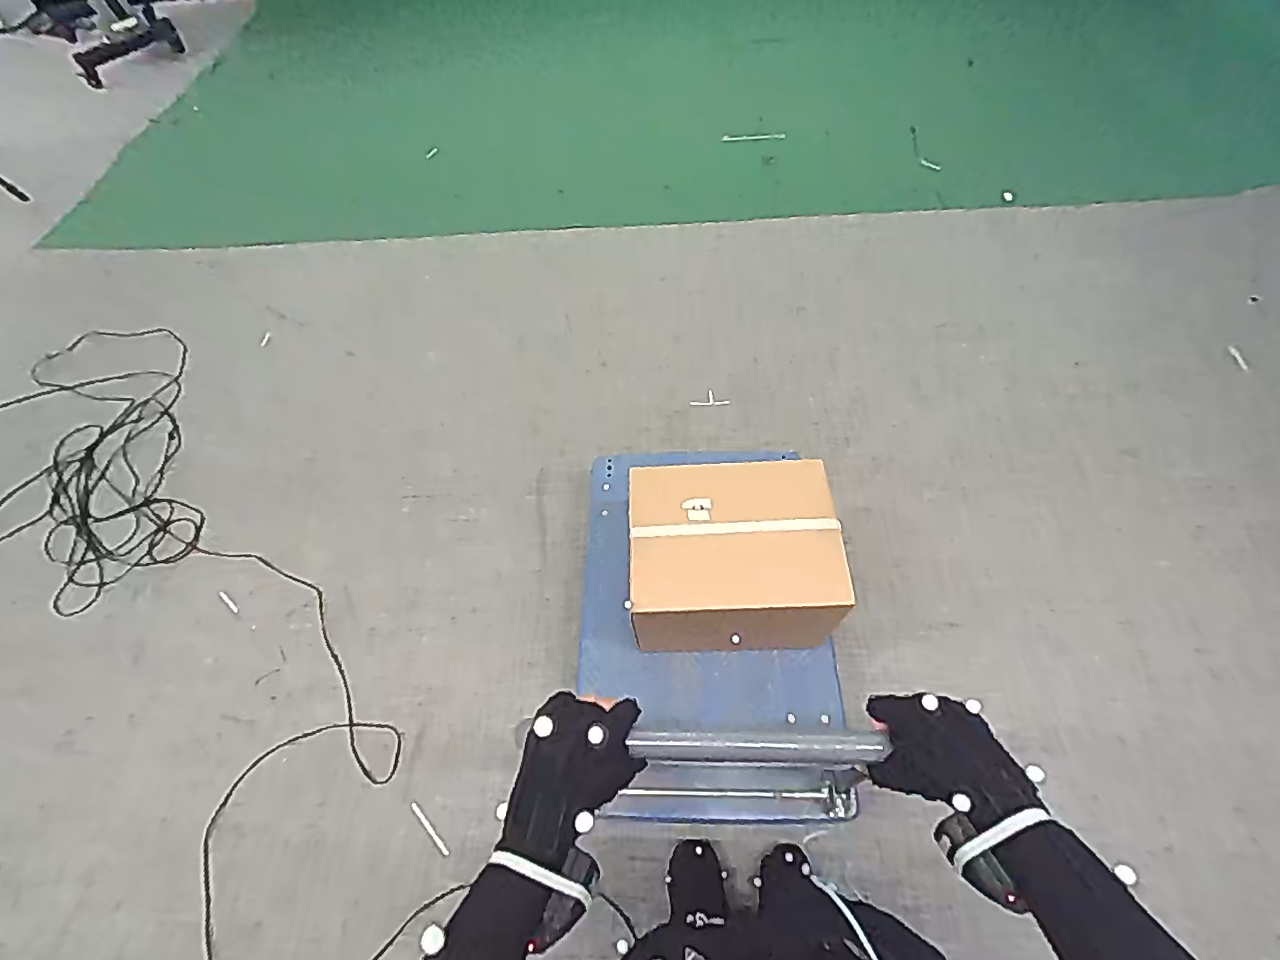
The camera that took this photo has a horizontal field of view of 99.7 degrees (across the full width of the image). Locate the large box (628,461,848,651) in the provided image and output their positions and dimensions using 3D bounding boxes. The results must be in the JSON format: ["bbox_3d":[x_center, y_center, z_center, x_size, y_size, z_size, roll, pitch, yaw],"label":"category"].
[{"bbox_3d":[0.191,0.180,1.190,0.408,0.320,0.320,-3,58,4],"label":"large box"}]
